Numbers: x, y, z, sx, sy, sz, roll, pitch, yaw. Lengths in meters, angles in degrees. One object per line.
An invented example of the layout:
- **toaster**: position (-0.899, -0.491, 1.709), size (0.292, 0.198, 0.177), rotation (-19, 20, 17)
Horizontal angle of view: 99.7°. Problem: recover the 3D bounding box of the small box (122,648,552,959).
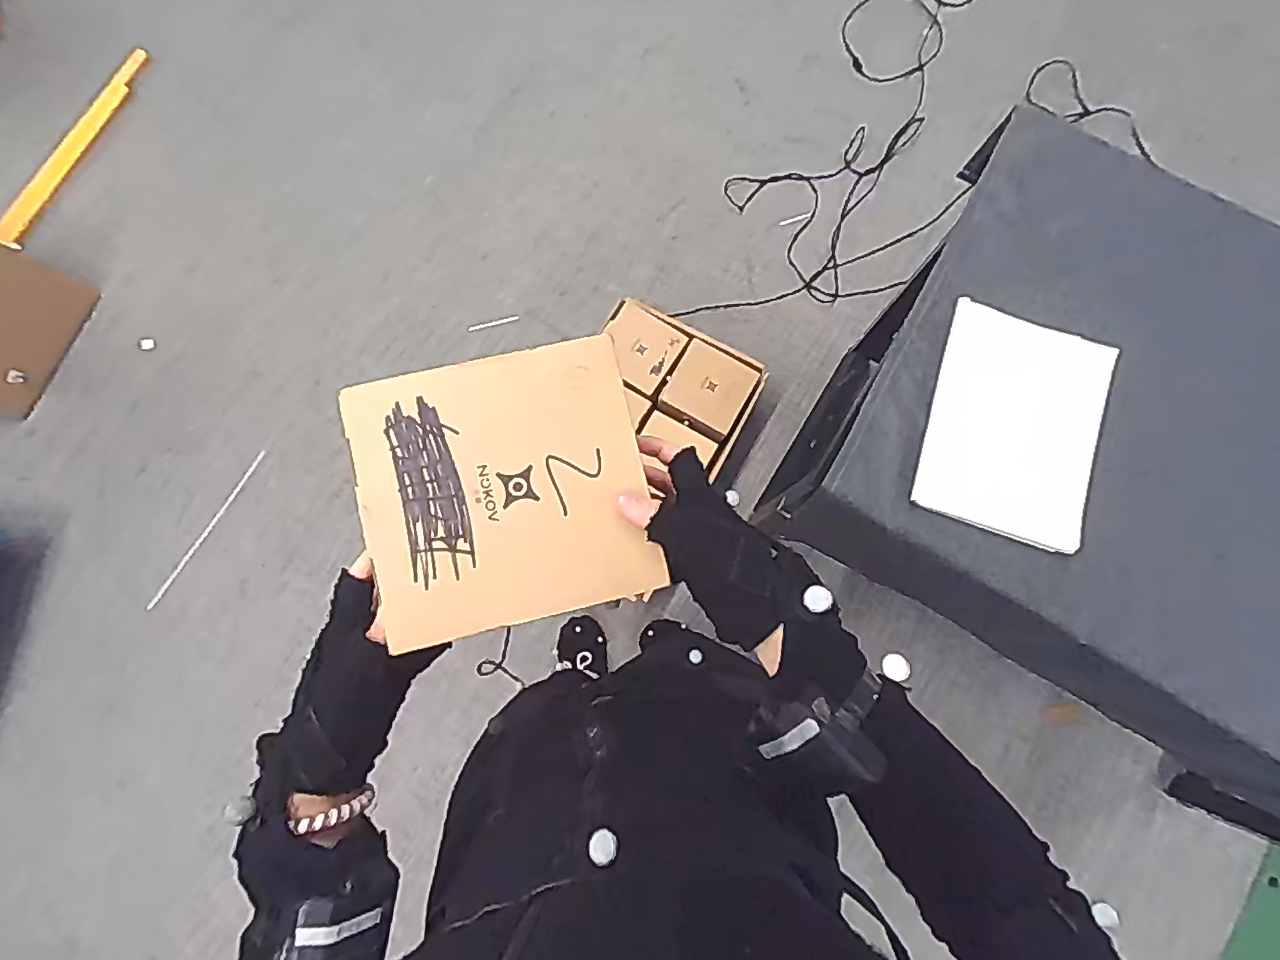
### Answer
- **small box**: position (-0.191, 0.242, 0.359), size (0.168, 0.176, 0.179), rotation (38, 44, -23)
